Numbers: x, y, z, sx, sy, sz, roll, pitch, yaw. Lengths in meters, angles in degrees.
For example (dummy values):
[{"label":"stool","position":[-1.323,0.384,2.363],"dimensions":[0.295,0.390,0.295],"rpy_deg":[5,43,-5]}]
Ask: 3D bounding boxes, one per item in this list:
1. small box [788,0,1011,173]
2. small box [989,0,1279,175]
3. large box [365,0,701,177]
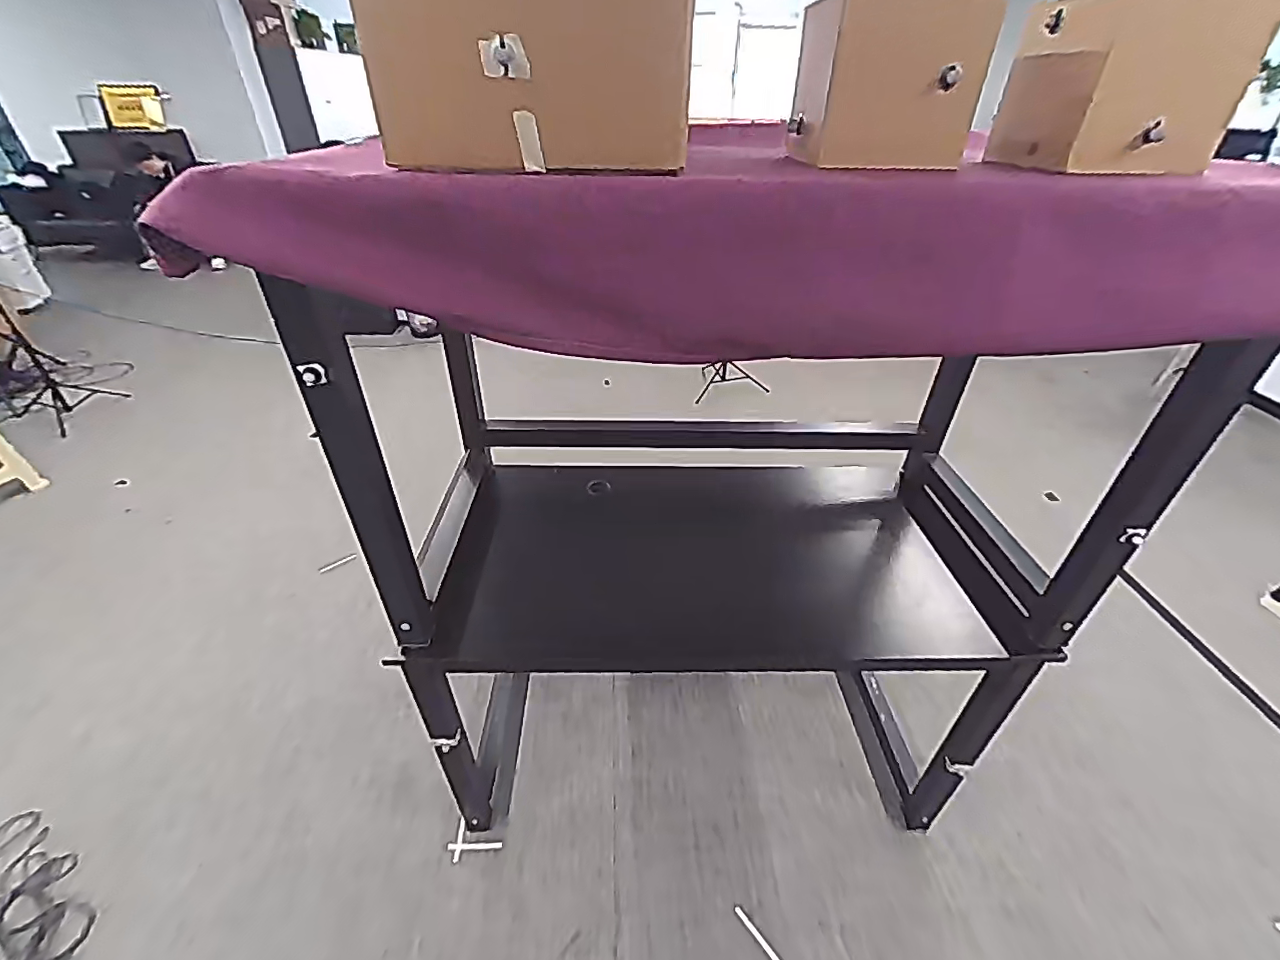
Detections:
[{"label":"small box","position":[0.298,-0.484,0.664],"dimensions":[0.179,0.176,0.168],"rpy_deg":[0,34,0]},{"label":"small box","position":[0.564,-0.466,0.639],"dimensions":[0.179,0.176,0.168],"rpy_deg":[-1,34,-3]},{"label":"large box","position":[-0.105,-0.549,0.633],"dimensions":[0.320,0.320,0.408],"rpy_deg":[0,34,-2]}]
